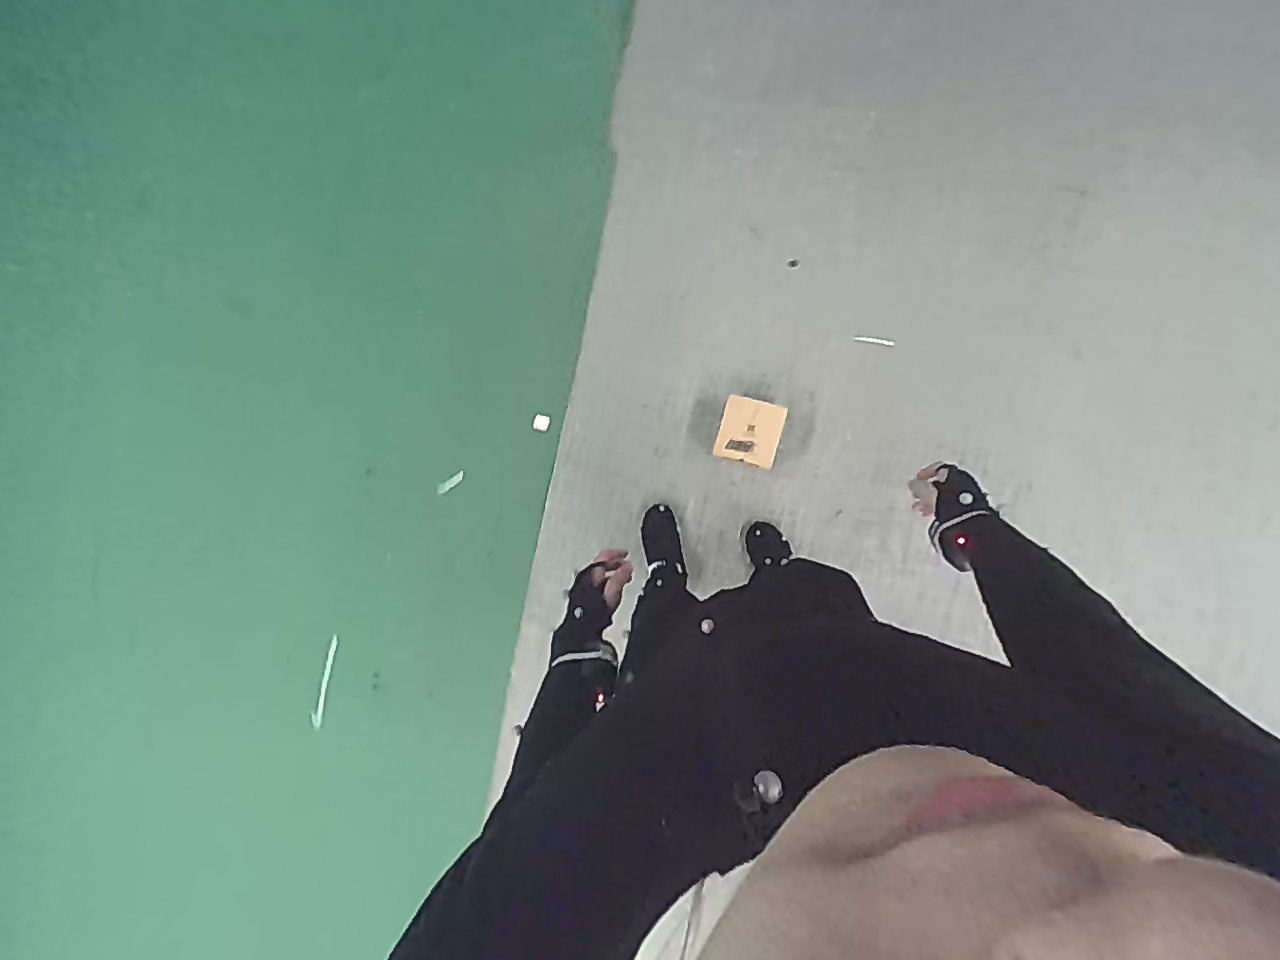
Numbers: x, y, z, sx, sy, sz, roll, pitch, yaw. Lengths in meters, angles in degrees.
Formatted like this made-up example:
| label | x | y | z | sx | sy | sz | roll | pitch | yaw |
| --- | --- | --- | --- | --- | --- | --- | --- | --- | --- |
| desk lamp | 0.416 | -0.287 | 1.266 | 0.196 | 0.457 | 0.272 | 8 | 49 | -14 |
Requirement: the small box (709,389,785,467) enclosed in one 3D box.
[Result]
| label | x | y | z | sx | sy | sz | roll | pitch | yaw |
| --- | --- | --- | --- | --- | --- | --- | --- | --- | --- |
| small box | 0.303 | -0.141 | 1.541 | 0.168 | 0.176 | 0.179 | 17 | 90 | 9 |
